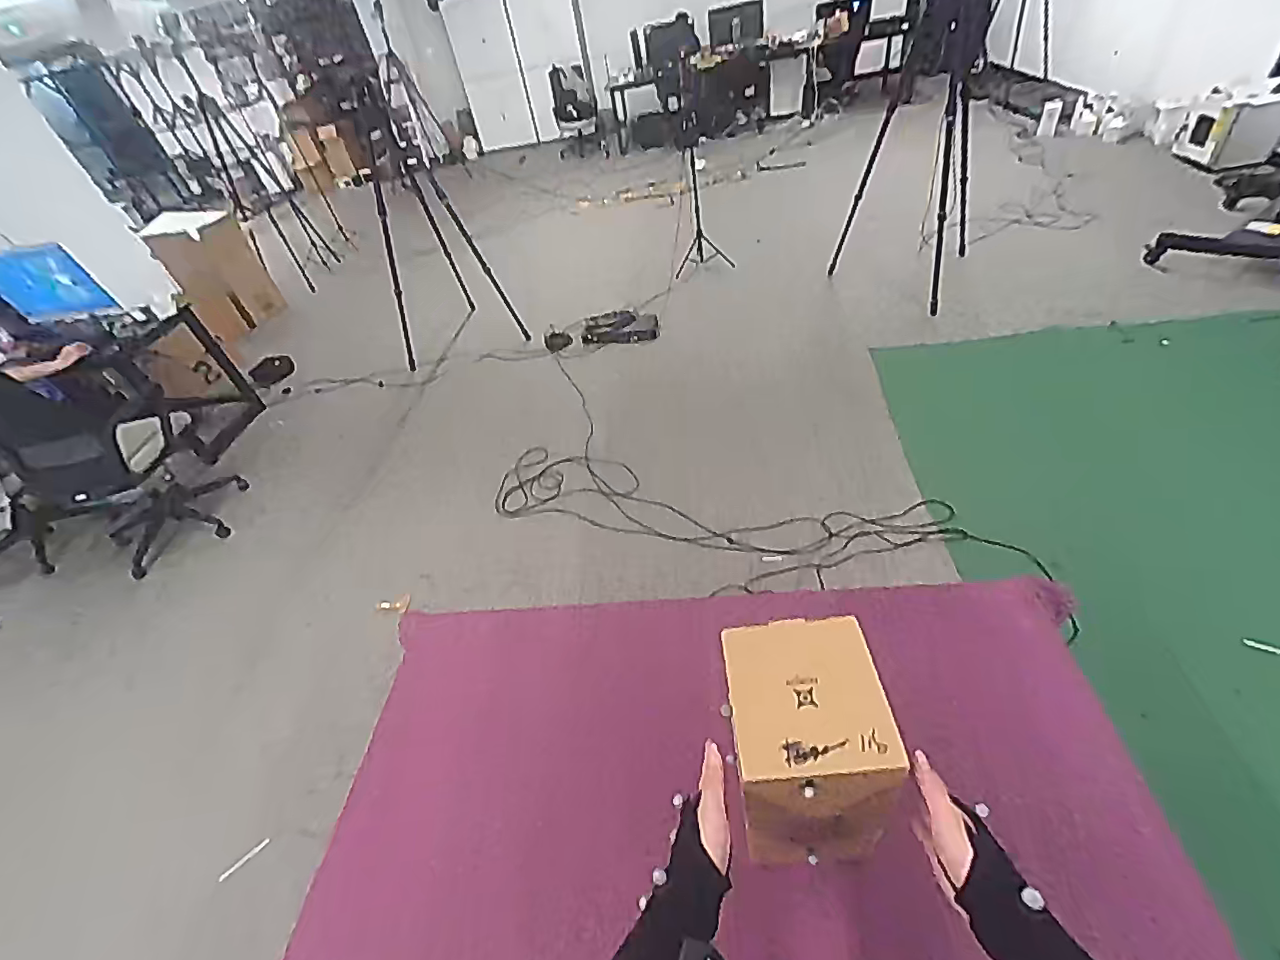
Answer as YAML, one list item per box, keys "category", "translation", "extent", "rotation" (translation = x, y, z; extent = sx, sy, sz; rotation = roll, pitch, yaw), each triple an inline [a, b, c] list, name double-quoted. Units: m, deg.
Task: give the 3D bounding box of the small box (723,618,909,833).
- category: "small box"
  translation: [0.192, 0.291, 0.644]
  extent: [0.168, 0.176, 0.179]
  rotation: [-8, 42, 6]

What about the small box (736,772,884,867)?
- category: "small box"
  translation: [0.219, 0.412, 0.752]
  extent: [0.168, 0.176, 0.179]
  rotation: [-8, 42, 7]
